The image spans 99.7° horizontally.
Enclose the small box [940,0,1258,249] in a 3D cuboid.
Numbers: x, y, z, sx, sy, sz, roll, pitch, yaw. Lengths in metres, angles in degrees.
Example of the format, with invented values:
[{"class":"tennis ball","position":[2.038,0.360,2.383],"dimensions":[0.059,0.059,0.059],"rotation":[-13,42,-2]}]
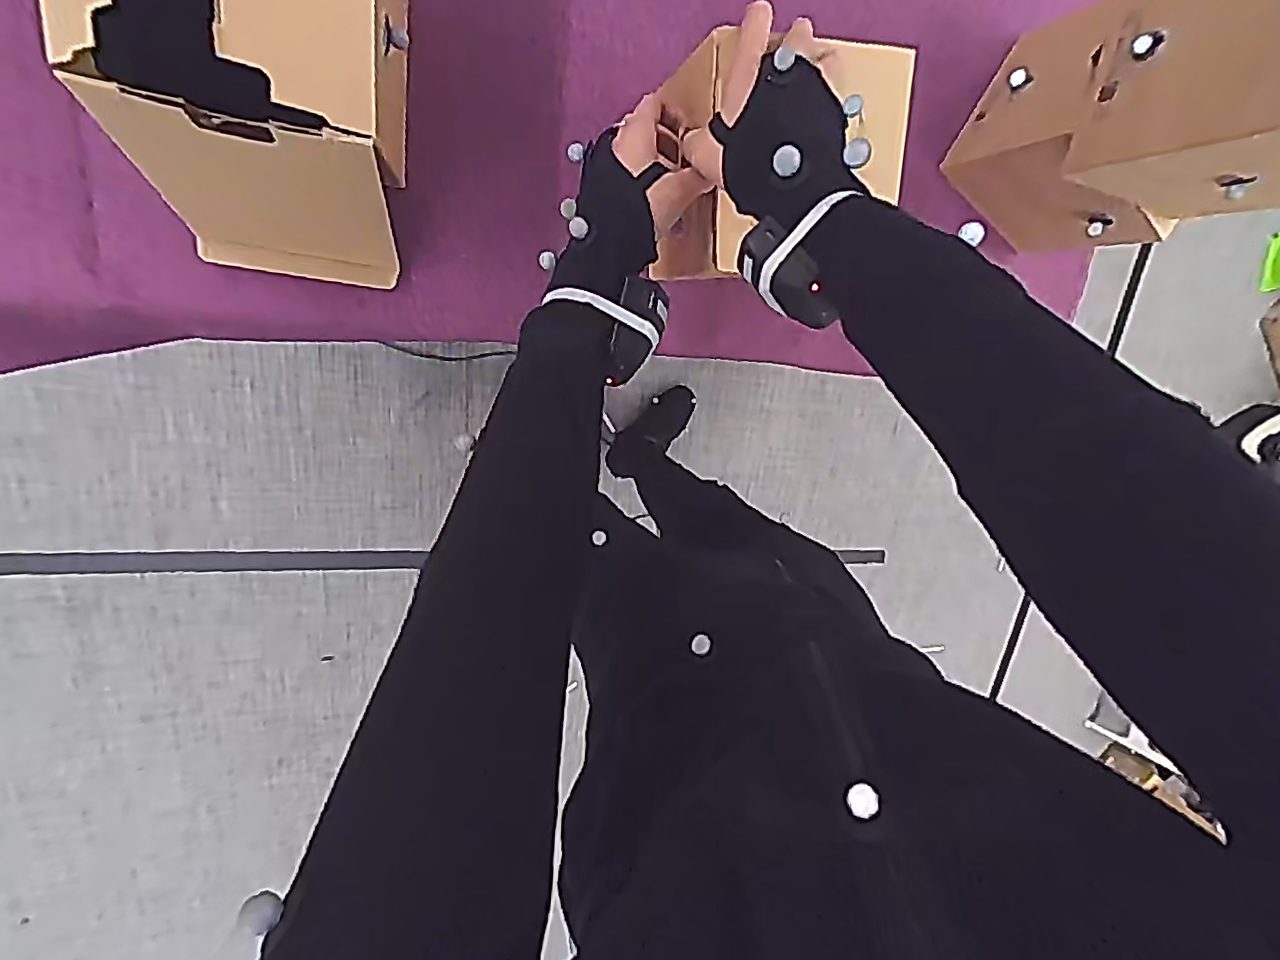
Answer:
[{"class":"small box","position":[0.479,-0.371,0.586],"dimensions":[0.179,0.176,0.168],"rotation":[27,98,-23]}]

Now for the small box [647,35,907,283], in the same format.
[{"class":"small box","position":[0.109,-0.275,0.507],"dimensions":[0.179,0.176,0.168],"rotation":[-7,110,-16]}]
